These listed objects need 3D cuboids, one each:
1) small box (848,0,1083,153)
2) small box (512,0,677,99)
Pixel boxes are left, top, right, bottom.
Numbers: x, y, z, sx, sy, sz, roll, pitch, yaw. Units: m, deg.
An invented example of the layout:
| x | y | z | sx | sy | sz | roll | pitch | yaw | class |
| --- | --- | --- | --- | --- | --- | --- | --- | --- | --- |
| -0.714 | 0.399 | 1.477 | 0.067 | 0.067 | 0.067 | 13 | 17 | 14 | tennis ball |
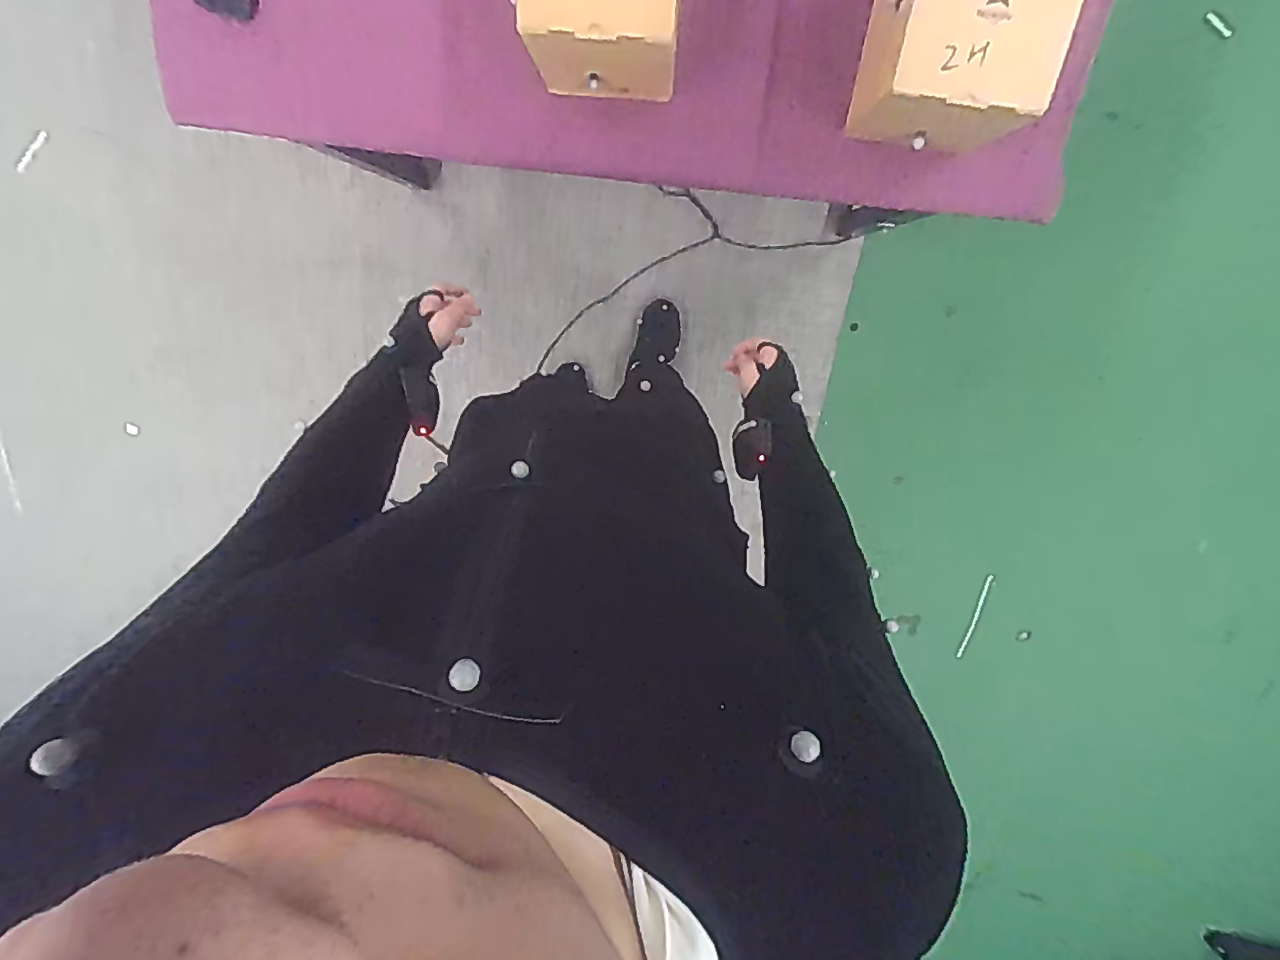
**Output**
| x | y | z | sx | sy | sz | roll | pitch | yaw | class |
| --- | --- | --- | --- | --- | --- | --- | --- | --- | --- |
| 0.353 | -0.496 | 0.606 | 0.168 | 0.176 | 0.179 | 9 | 109 | 1 | small box |
| -0.042 | -0.562 | 0.604 | 0.168 | 0.176 | 0.179 | 5 | 109 | 1 | small box |
